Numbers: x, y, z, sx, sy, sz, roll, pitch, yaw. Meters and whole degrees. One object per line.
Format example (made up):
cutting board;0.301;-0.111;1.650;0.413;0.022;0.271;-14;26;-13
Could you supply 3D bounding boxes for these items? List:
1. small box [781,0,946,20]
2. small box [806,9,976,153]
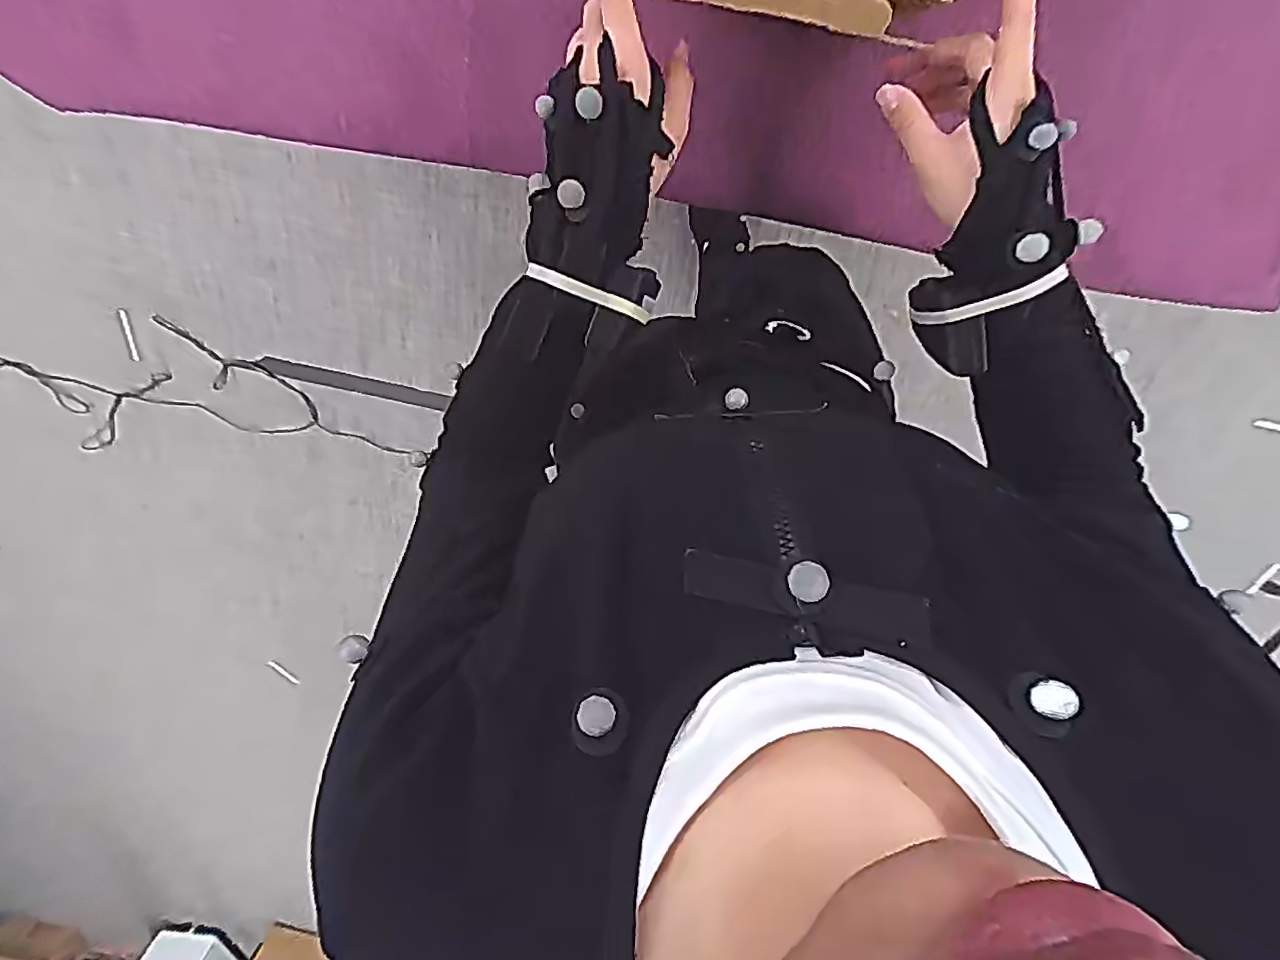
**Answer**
small box;0.108;-0.385;0.300;0.168;0.179;0.176;12;129;-2
small box;0.380;-0.630;0.863;0.179;0.176;0.168;11;122;0
